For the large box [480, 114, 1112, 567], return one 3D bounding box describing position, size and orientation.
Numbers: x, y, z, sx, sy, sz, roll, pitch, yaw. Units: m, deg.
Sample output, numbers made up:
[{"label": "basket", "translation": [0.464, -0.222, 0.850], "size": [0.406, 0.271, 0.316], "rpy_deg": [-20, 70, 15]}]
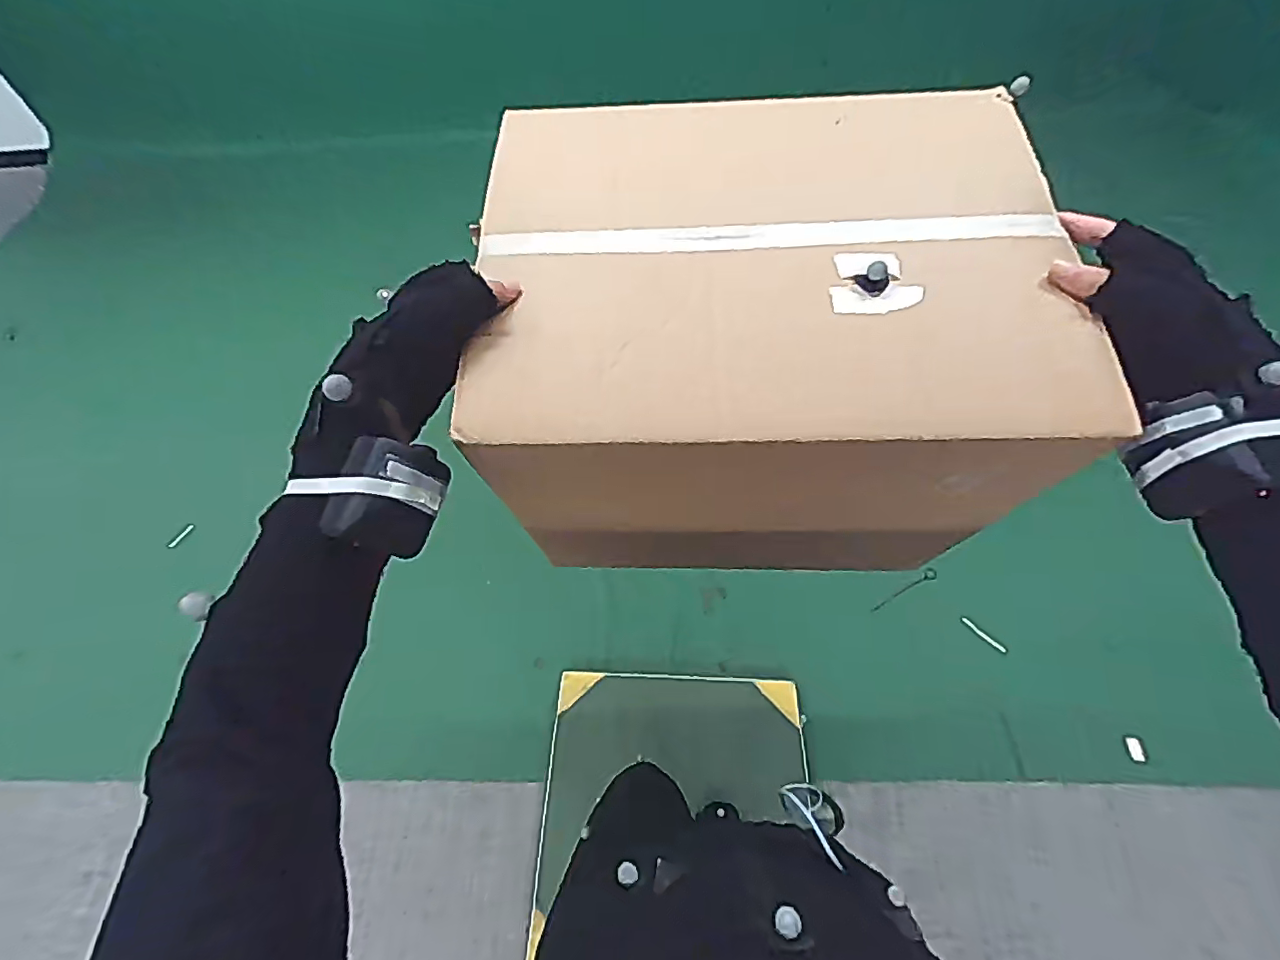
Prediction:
[{"label": "large box", "translation": [0.098, -0.104, 0.533], "size": [0.408, 0.320, 0.320], "rpy_deg": [0, 67, 2]}]
